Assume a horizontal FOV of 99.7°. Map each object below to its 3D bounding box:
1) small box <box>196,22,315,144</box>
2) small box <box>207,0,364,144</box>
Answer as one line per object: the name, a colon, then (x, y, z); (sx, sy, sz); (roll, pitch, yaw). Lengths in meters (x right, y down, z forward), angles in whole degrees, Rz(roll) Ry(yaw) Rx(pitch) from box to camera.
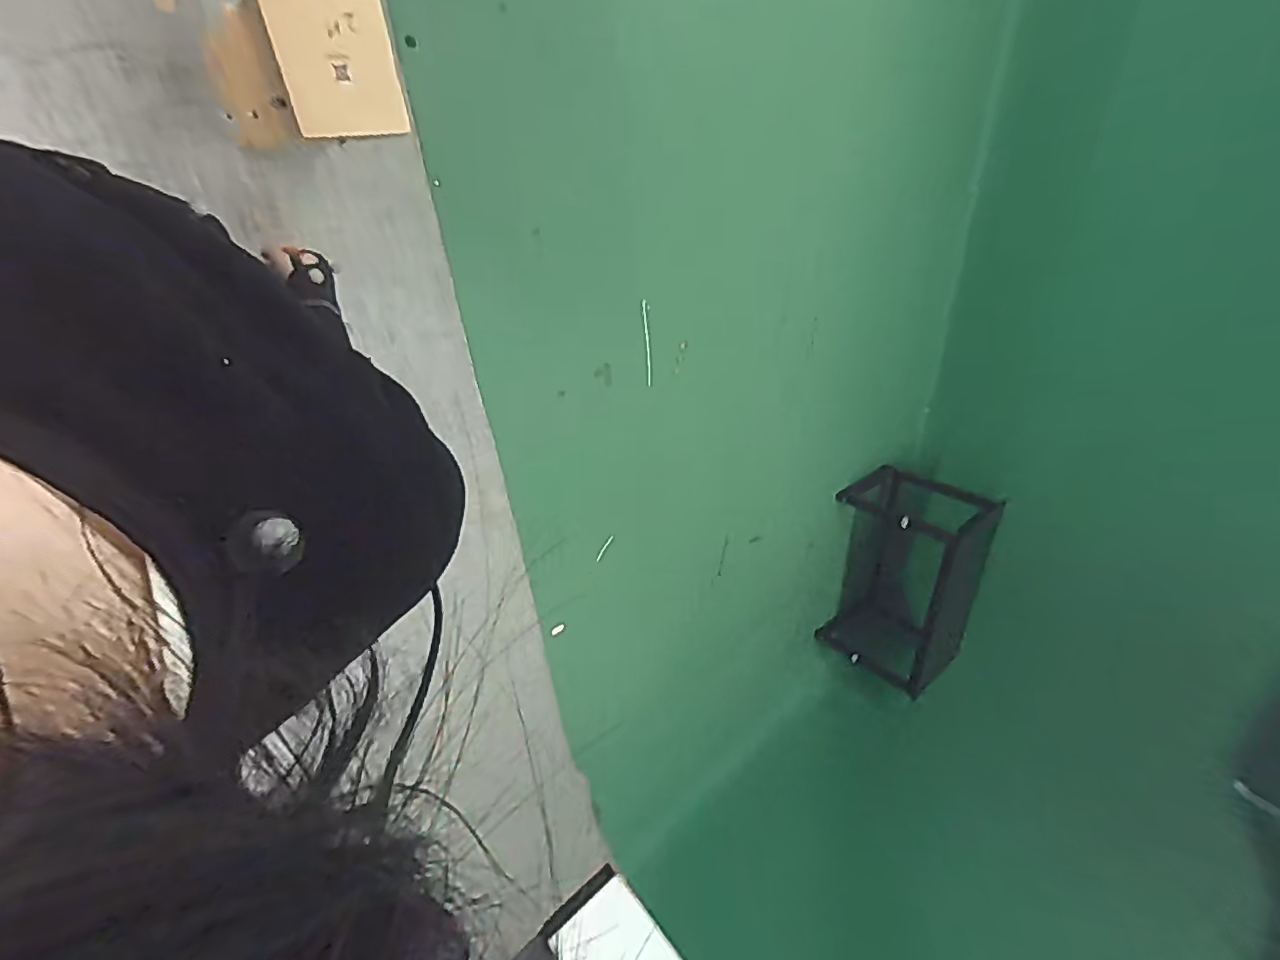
small box: (-0.724, -0.753, 1.046); (0.179, 0.176, 0.168); (-25, 126, -33)
small box: (-0.616, -0.697, 0.940); (0.168, 0.176, 0.179); (-27, 128, -31)
